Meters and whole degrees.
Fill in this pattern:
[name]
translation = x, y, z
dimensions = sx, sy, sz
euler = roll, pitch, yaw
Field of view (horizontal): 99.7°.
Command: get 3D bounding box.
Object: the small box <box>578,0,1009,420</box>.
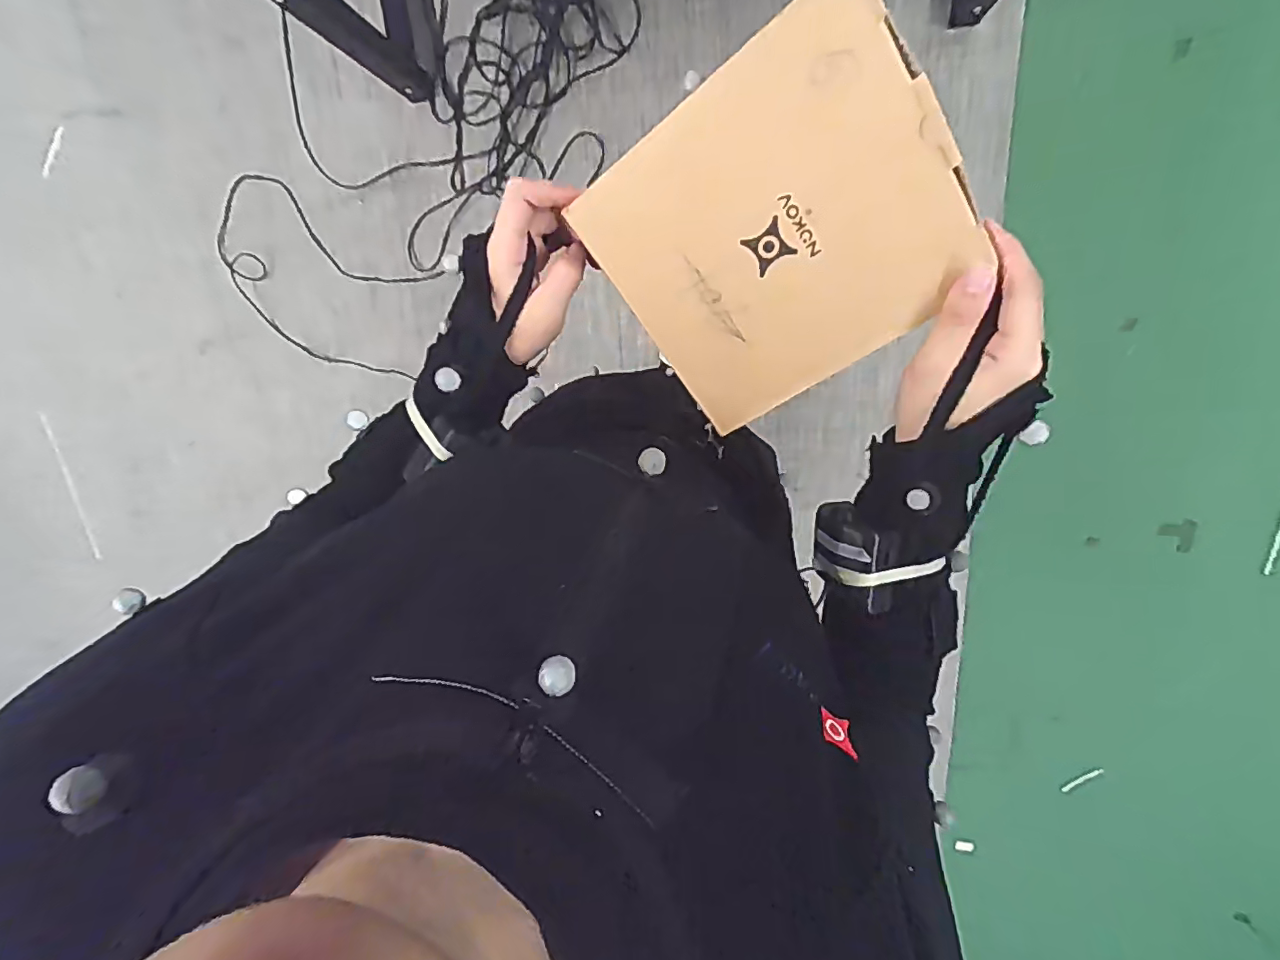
[small box]
translation = 0.091, -0.175, 0.358
dimensions = 0.179, 0.176, 0.168
euler = -30, 108, 26
